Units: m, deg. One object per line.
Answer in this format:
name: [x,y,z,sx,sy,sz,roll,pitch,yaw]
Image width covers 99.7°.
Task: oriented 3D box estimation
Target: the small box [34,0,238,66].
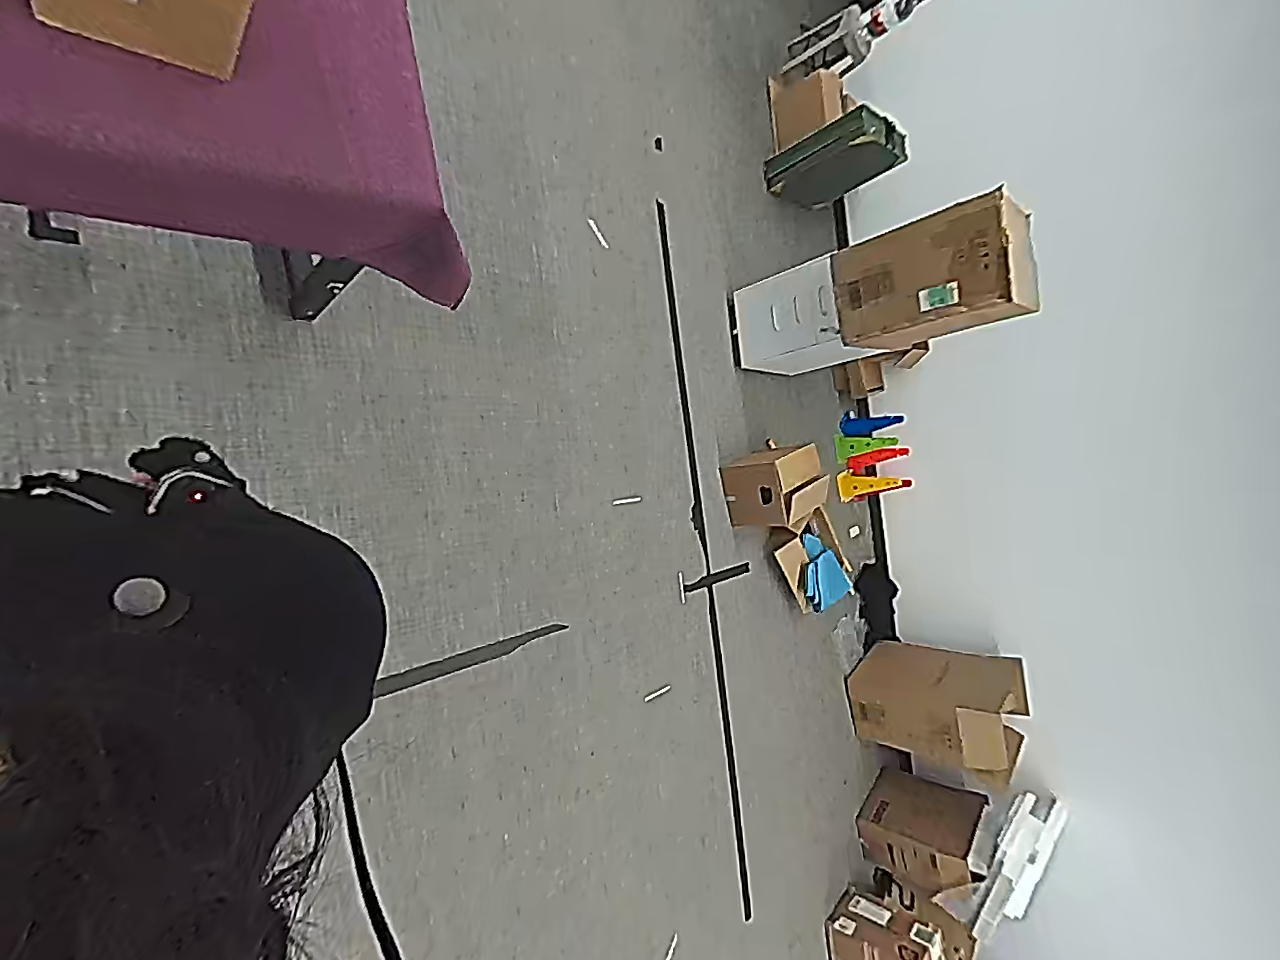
small box: [-0.560,-0.607,0.590,0.179,0.176,0.168,-11,93,-45]
